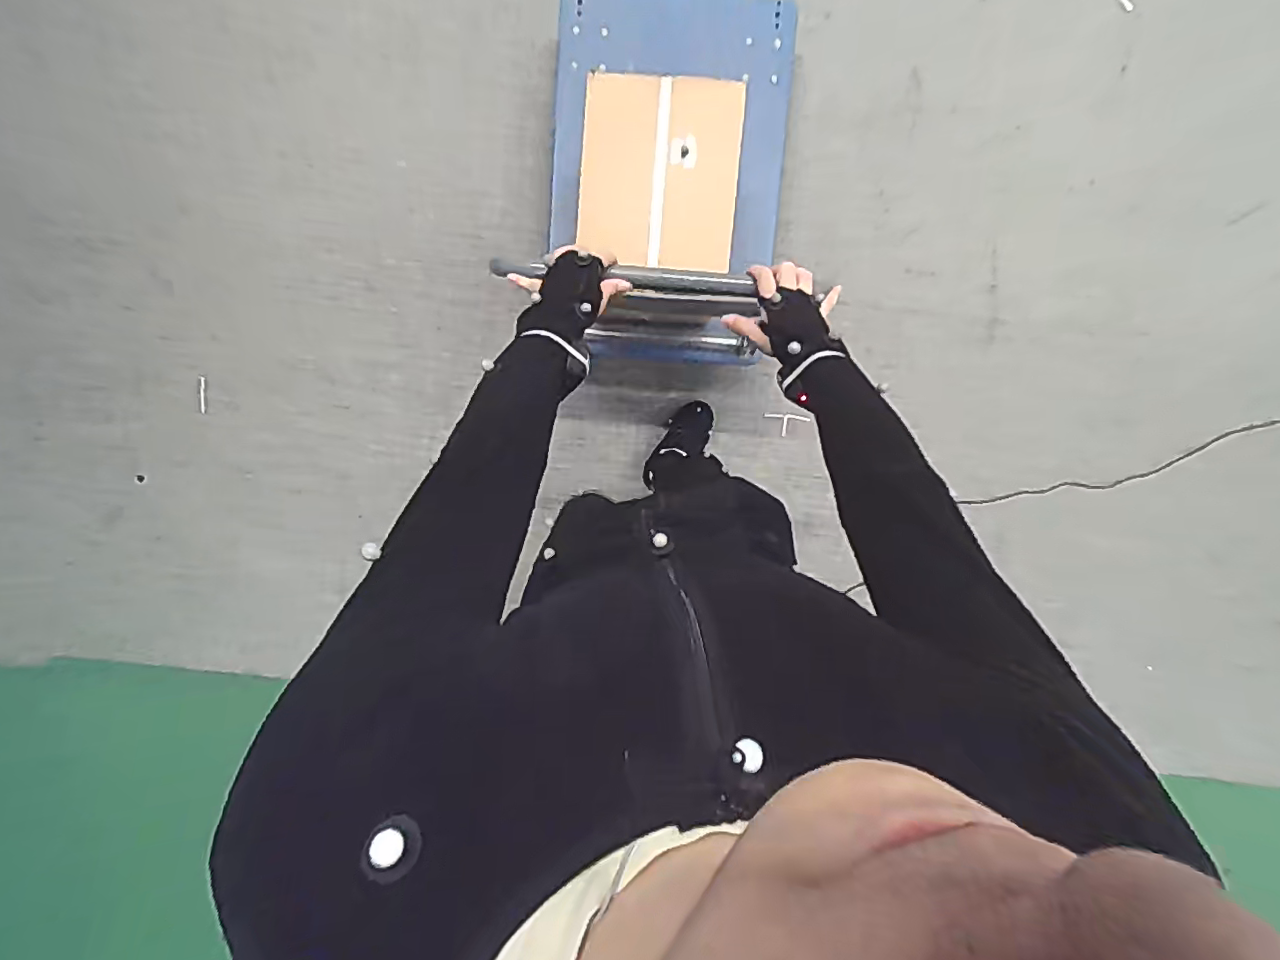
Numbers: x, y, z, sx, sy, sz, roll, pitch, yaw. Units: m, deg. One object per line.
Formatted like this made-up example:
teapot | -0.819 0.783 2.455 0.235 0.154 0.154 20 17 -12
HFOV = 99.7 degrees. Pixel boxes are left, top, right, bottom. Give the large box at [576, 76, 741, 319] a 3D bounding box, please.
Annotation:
large box | 0.039 -0.600 1.223 0.320 0.320 0.408 4 95 0
